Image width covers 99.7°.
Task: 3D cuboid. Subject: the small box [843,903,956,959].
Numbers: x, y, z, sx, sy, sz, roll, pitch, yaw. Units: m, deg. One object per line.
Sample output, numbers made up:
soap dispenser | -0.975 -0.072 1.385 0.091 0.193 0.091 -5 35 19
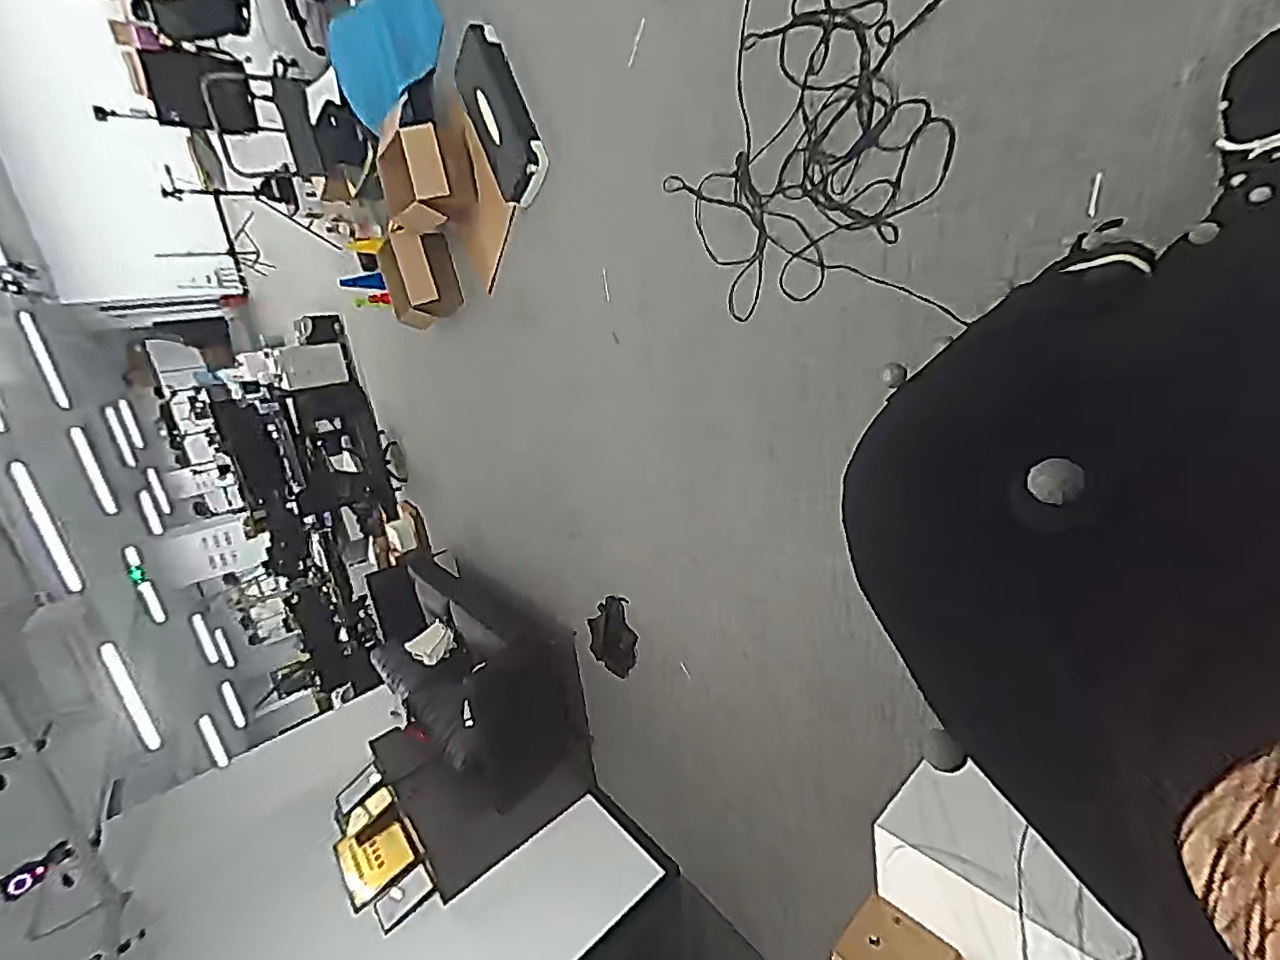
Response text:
small box | 0.499 0.970 1.023 0.168 0.176 0.179 9 114 50
